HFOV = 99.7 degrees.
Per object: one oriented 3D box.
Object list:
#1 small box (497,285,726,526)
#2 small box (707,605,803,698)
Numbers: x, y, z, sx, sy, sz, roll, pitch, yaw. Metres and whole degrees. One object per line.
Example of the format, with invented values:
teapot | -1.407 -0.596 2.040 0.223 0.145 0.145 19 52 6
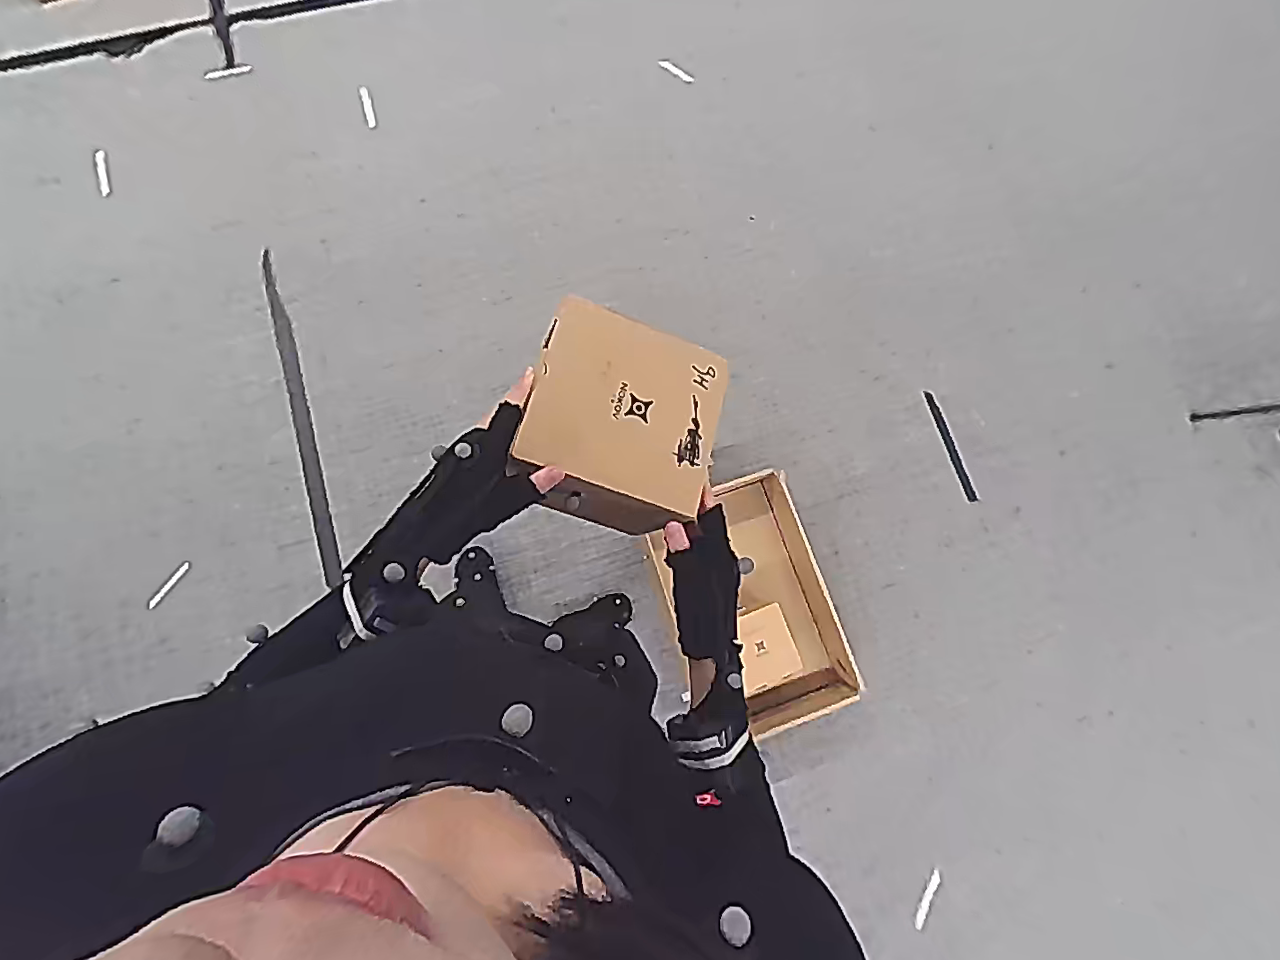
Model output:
small box | -0.039 -0.058 0.554 0.179 0.176 0.168 18 73 -13
small box | 0.288 0.432 1.394 0.168 0.176 0.179 -20 80 -8
